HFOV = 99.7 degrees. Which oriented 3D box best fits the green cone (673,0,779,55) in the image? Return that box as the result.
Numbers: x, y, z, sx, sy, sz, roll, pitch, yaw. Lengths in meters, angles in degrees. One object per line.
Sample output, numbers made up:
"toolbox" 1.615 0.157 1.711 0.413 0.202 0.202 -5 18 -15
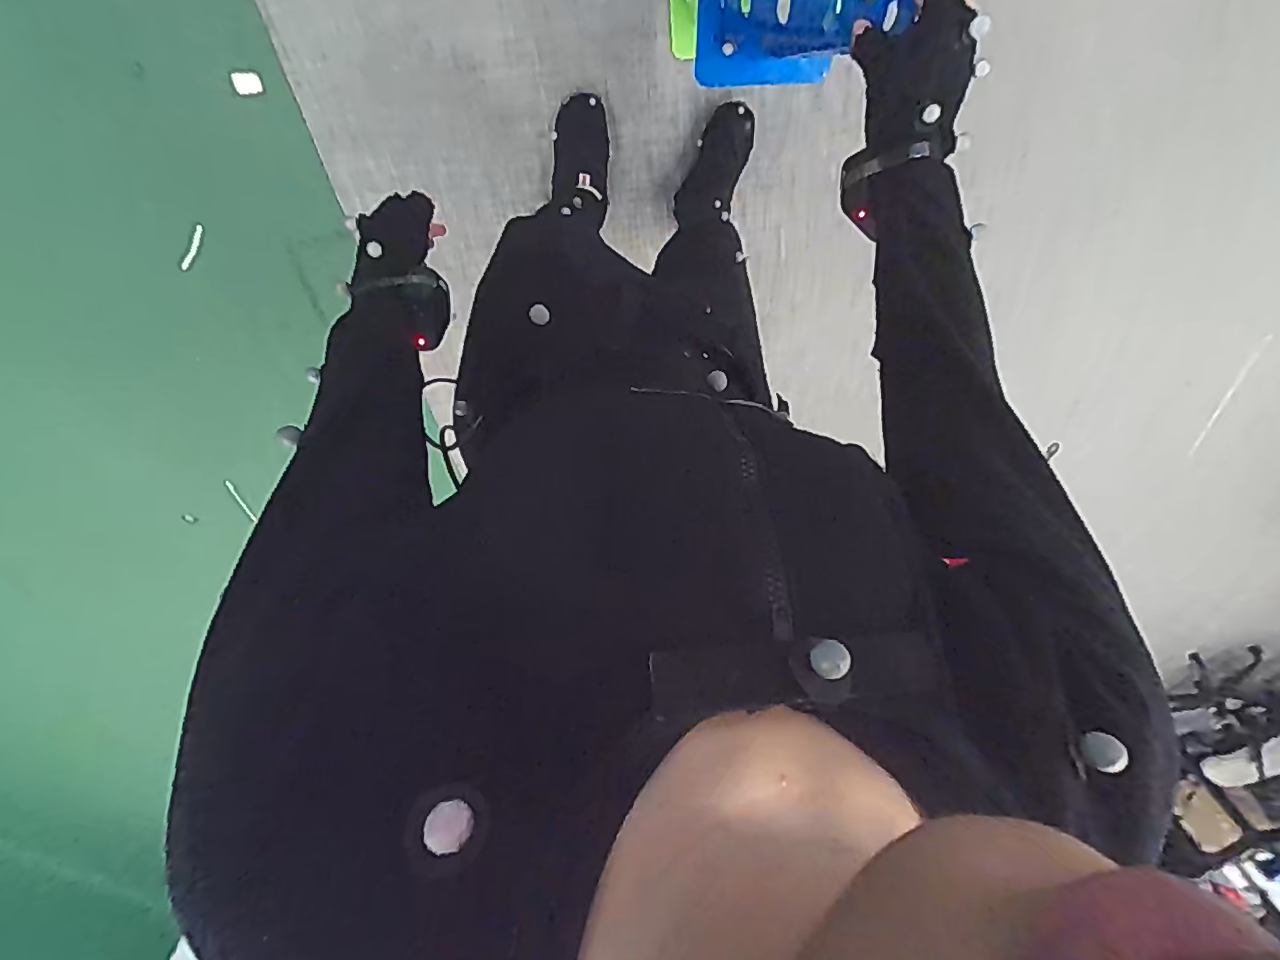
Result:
"green cone" 0.178 -0.786 0.842 0.202 0.368 0.200 -10 132 -2
